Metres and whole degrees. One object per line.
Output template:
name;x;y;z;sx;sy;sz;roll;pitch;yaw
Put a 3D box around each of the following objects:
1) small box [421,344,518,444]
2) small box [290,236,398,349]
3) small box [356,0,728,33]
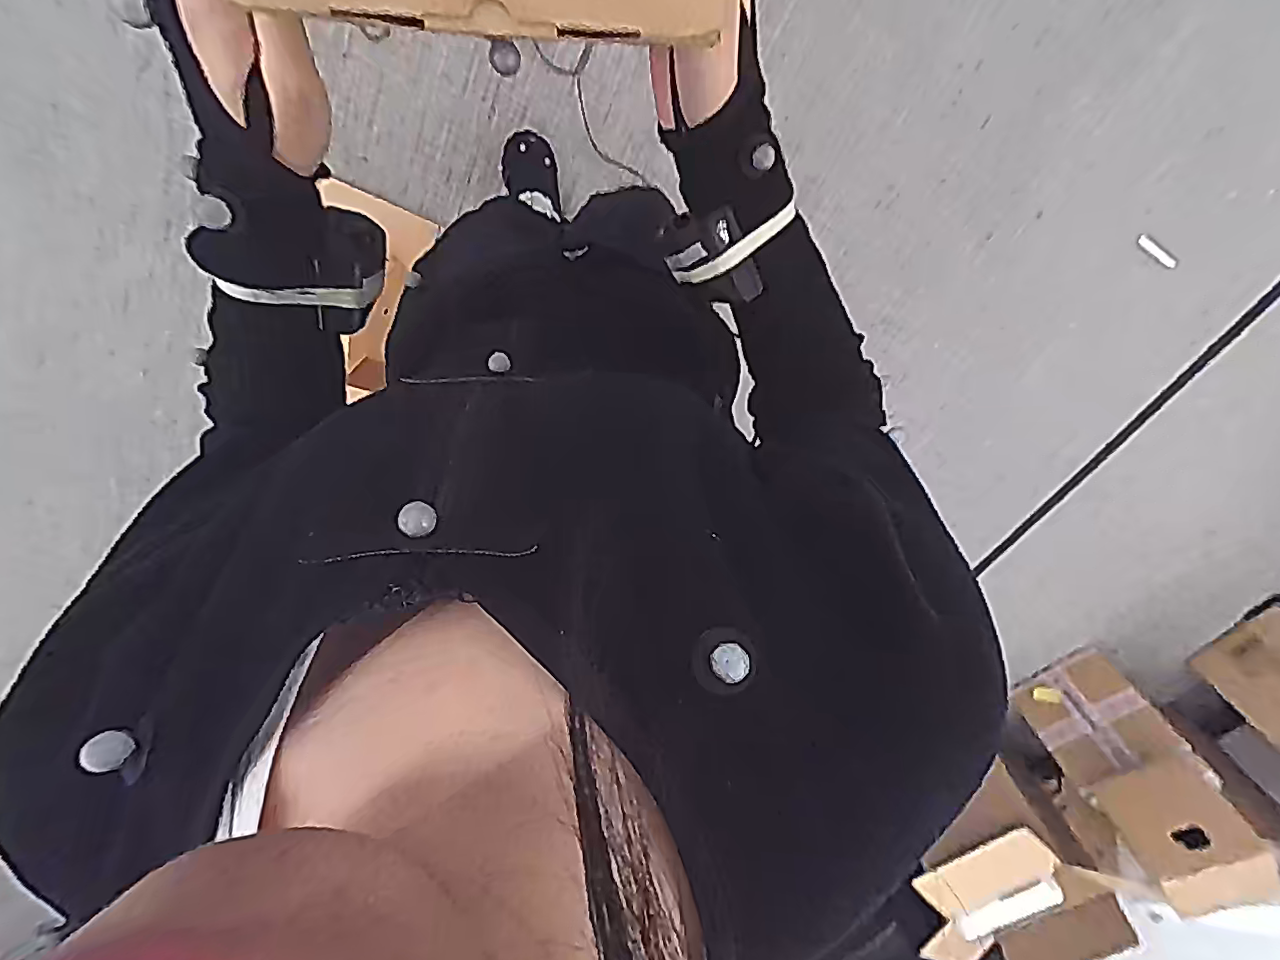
small box;-0.425;-0.224;1.369;0.179;0.176;0.168;22;118;-20
small box;-0.657;-0.426;1.215;0.168;0.176;0.179;16;120;-15
small box;-0.057;-0.273;0.183;0.168;0.176;0.179;-2;129;-9
